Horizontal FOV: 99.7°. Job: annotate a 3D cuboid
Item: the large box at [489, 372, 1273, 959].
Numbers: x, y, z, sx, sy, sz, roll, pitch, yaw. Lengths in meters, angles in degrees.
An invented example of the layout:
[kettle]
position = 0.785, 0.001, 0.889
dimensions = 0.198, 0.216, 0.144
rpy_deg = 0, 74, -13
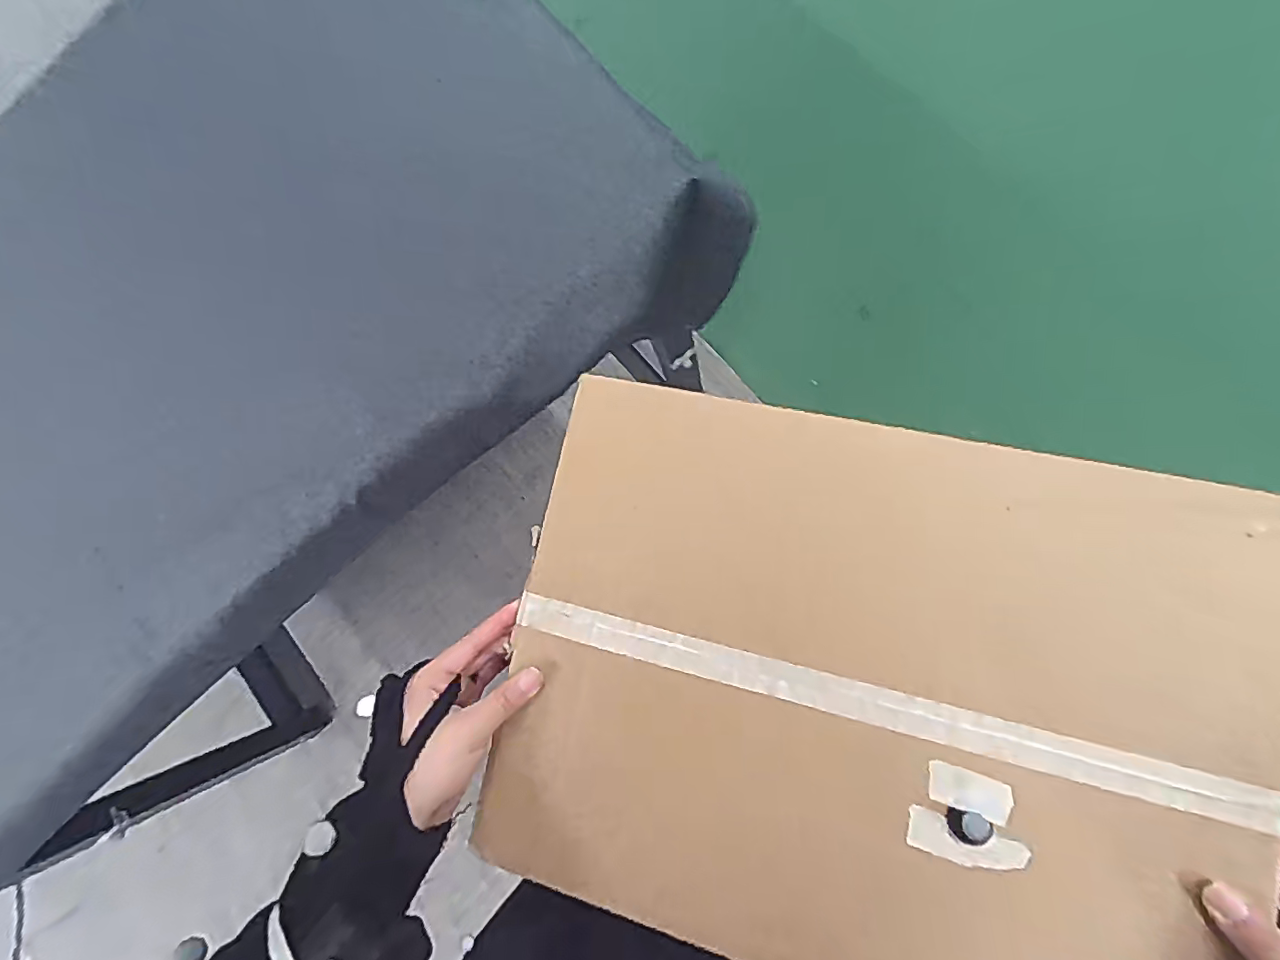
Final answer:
[large box]
position = 0.147, 0.126, 0.461
dimensions = 0.408, 0.320, 0.320
rpy_deg = 11, 85, 11
